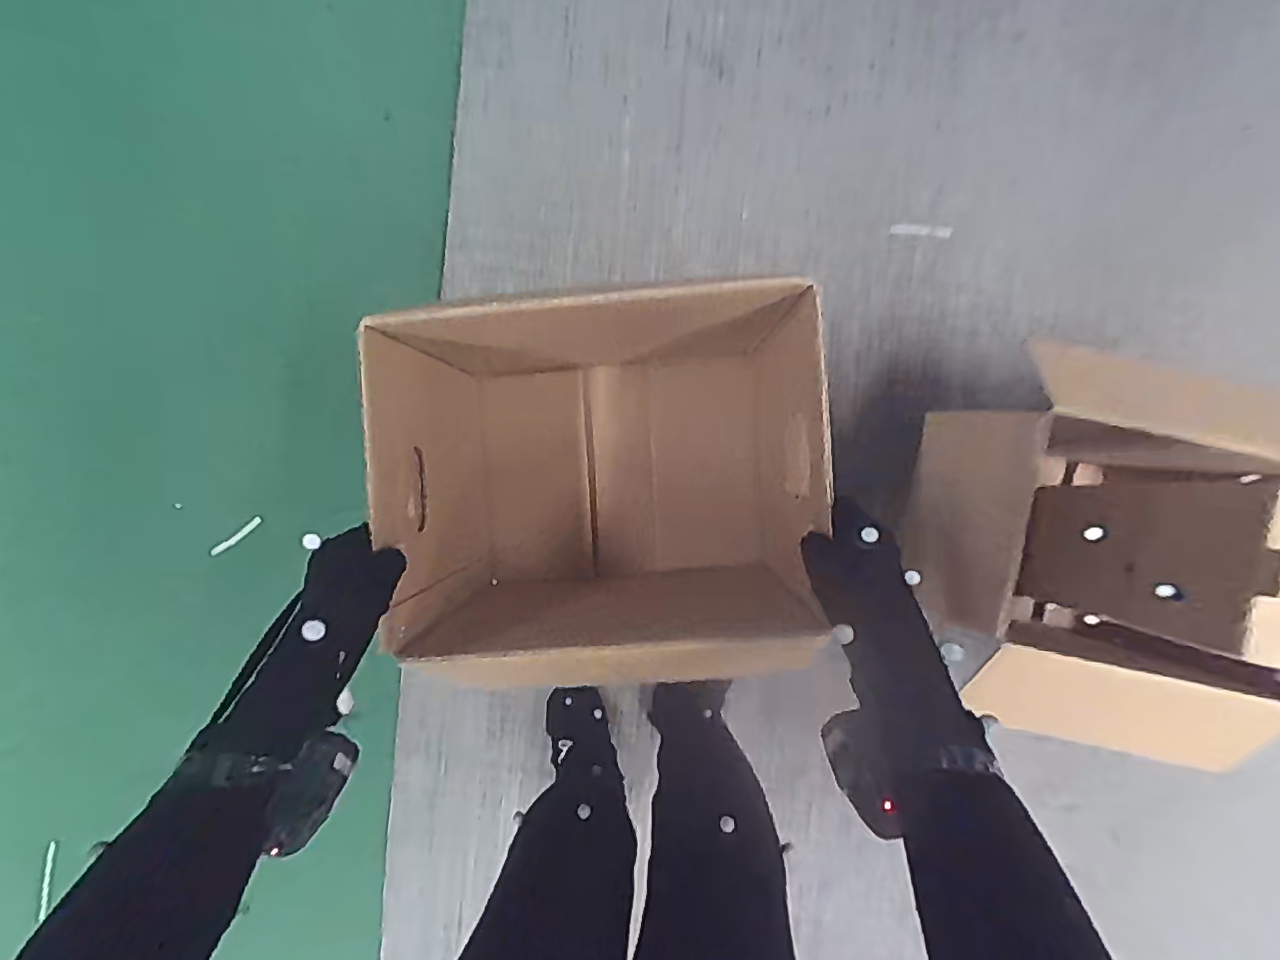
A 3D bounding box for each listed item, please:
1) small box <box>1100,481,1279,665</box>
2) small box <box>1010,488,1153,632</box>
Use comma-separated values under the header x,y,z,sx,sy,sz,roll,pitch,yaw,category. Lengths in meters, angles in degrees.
x,y,z,sx,sy,sz,roll,pitch,yaw,category
0.642,0.099,0.567,0.179,0.176,0.168,11,91,3,small box
0.651,0.107,0.729,0.179,0.176,0.168,11,89,4,small box
